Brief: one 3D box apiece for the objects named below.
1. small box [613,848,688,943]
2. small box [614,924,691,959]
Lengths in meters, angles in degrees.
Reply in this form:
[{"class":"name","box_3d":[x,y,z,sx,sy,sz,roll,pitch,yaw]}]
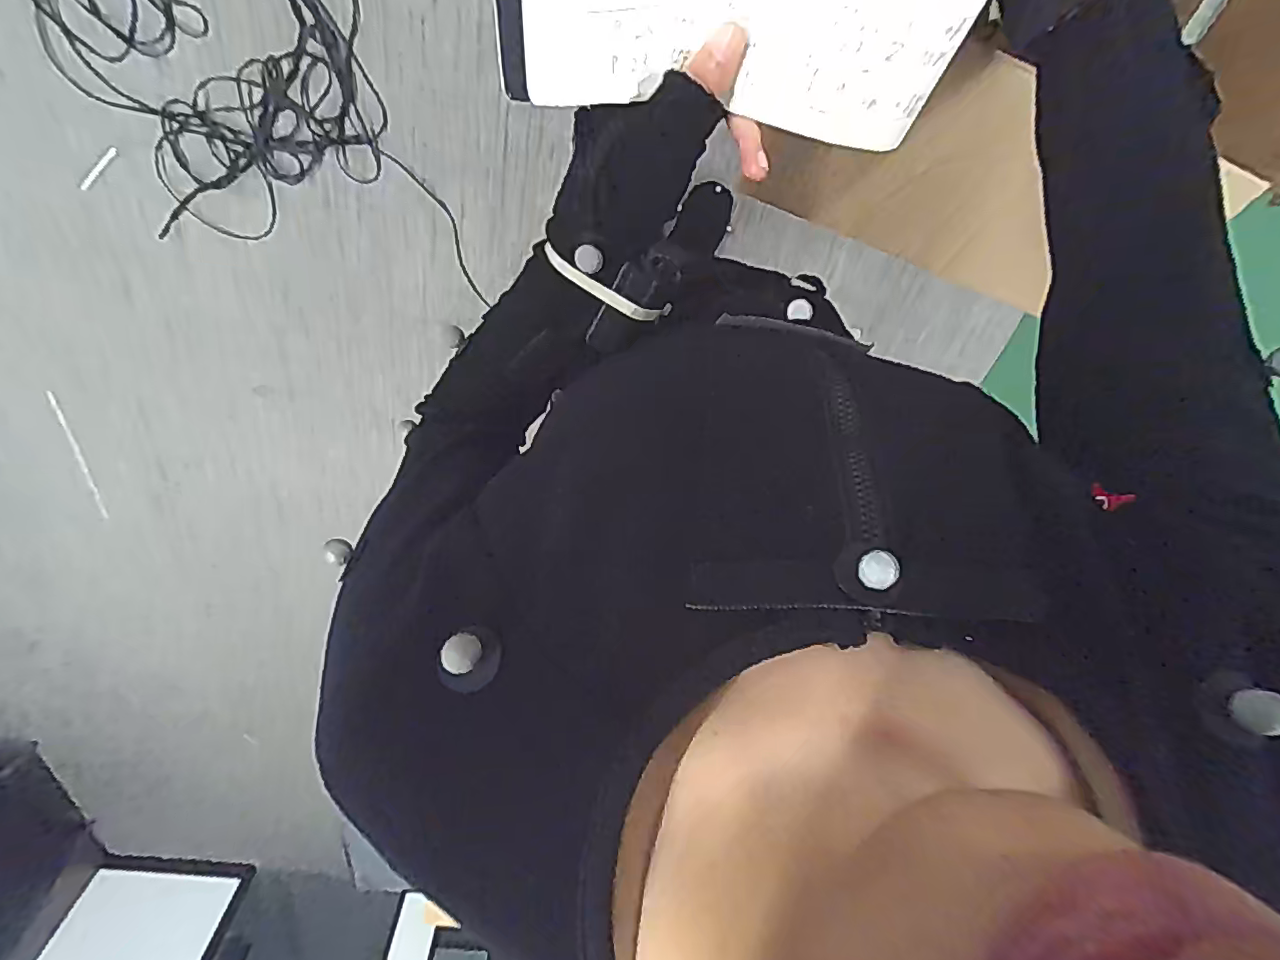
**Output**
[{"class":"small box","box_3d":[0.026,1.145,1.483,0.168,0.176,0.179,10,124,-8]},{"class":"small box","box_3d":[0.029,1.242,1.350,0.168,0.176,0.179,12,125,-8]}]
